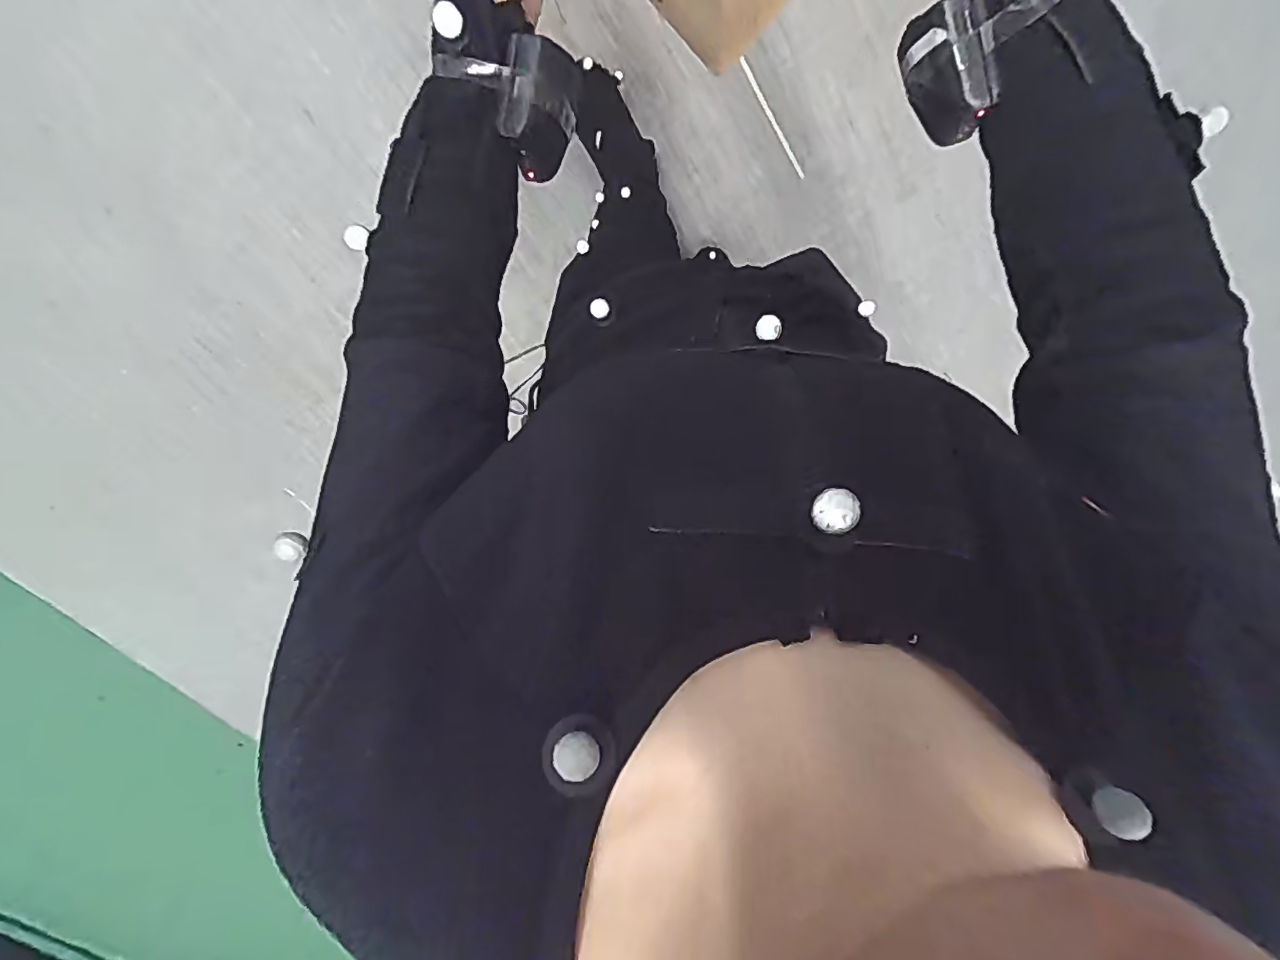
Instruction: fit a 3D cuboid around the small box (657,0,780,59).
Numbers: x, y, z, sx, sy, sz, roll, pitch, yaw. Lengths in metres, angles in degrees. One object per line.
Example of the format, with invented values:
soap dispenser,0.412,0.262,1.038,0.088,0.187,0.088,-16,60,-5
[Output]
small box,0.046,-0.372,0.265,0.179,0.176,0.168,-43,94,13
